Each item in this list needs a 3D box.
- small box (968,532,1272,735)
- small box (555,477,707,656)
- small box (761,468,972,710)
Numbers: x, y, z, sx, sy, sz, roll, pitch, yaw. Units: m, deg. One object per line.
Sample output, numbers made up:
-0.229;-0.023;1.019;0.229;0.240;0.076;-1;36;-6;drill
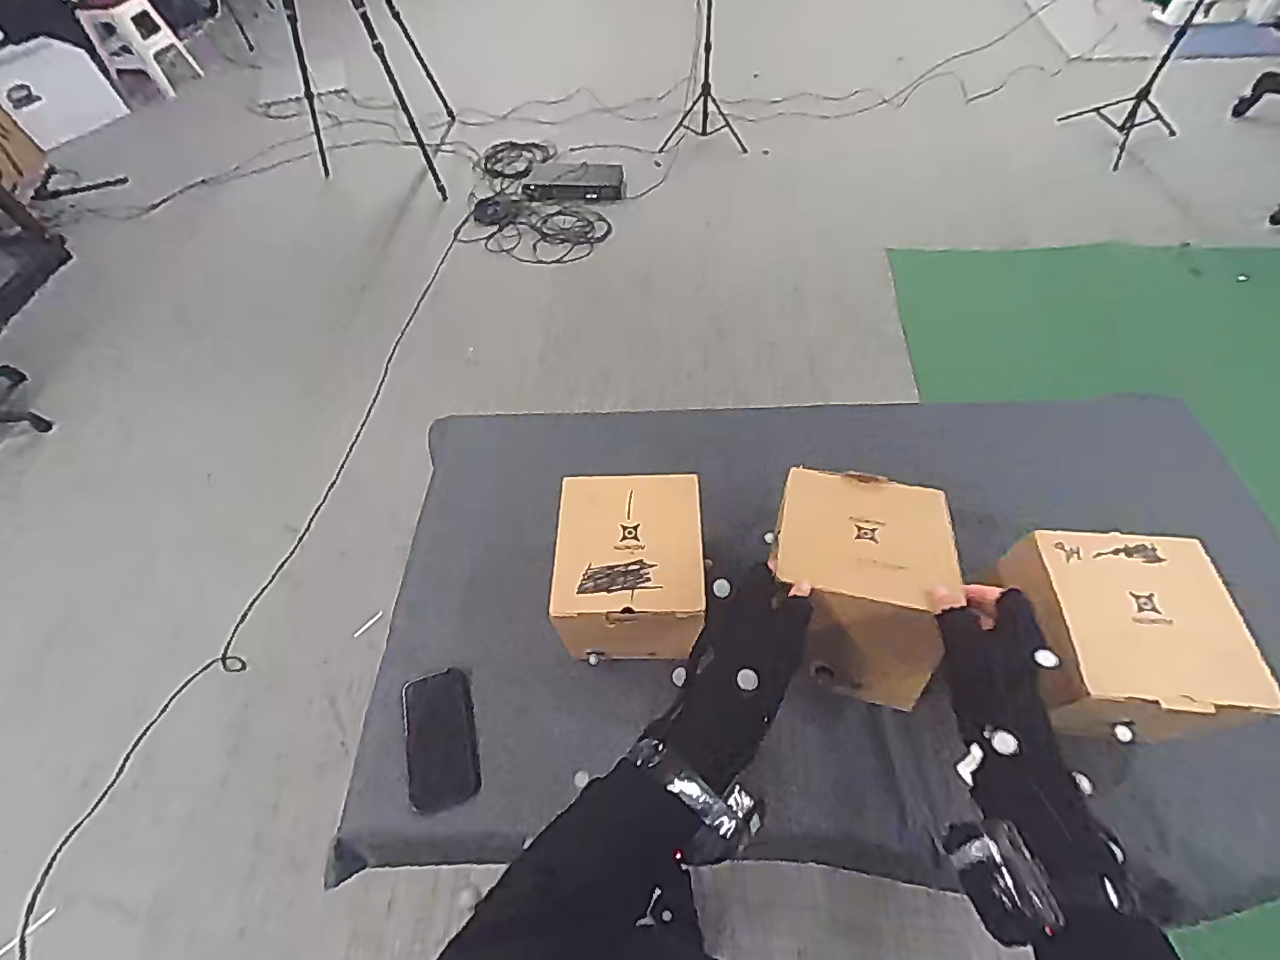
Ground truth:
0.505;0.178;0.608;0.168;0.176;0.179;4;57;5;small box
-0.003;0.115;0.680;0.168;0.176;0.179;-1;56;2;small box
0.232;0.115;0.593;0.168;0.176;0.179;10;41;13;small box
